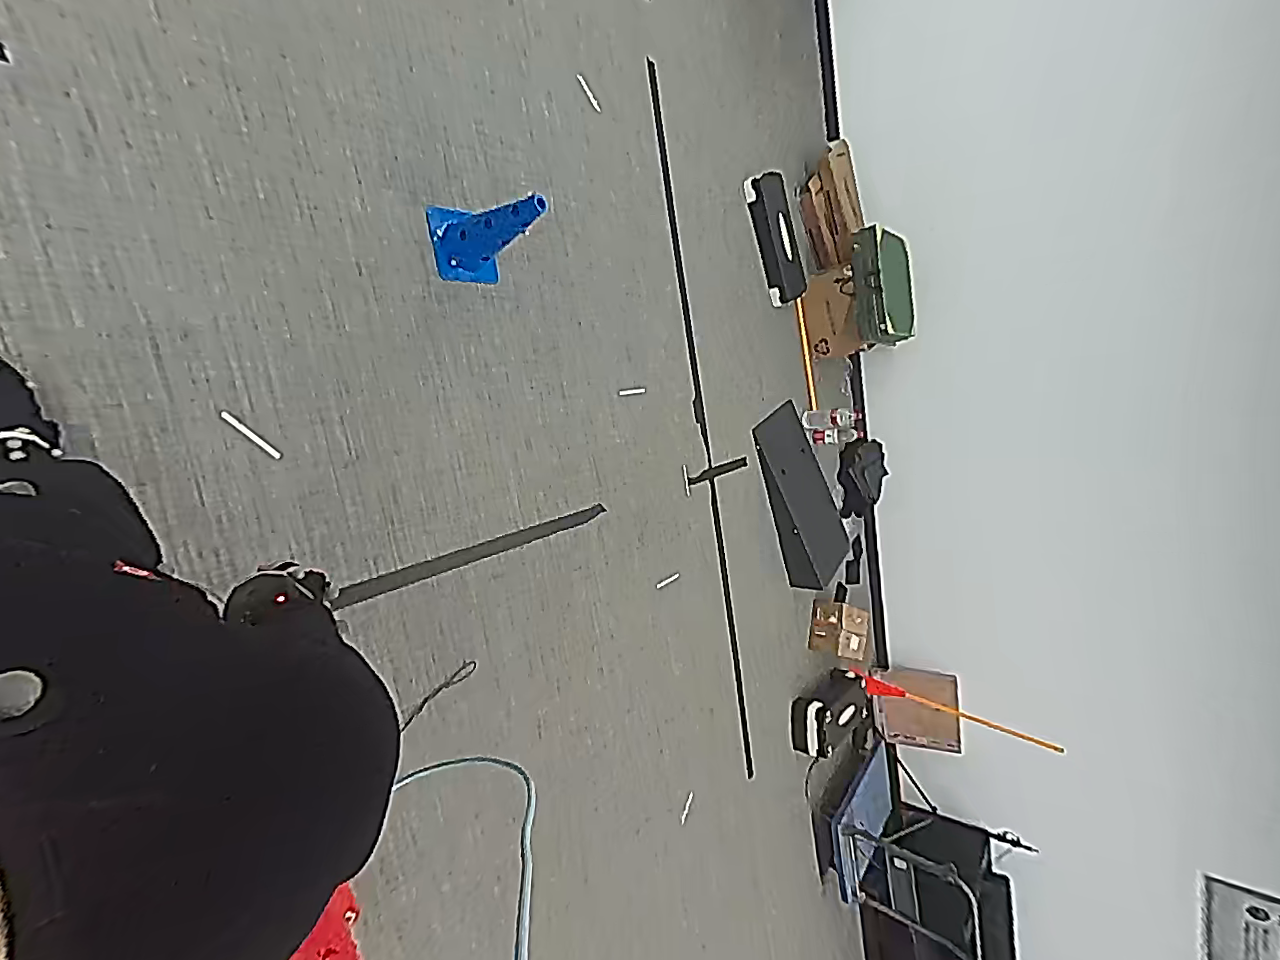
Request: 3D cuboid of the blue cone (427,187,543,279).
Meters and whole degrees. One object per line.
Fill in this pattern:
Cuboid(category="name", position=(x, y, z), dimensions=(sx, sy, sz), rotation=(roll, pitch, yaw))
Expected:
Cuboid(category="blue cone", position=(-0.386, -0.683, 1.443), dimensions=(0.193, 0.380, 0.192), rotation=(-17, 101, -48))
